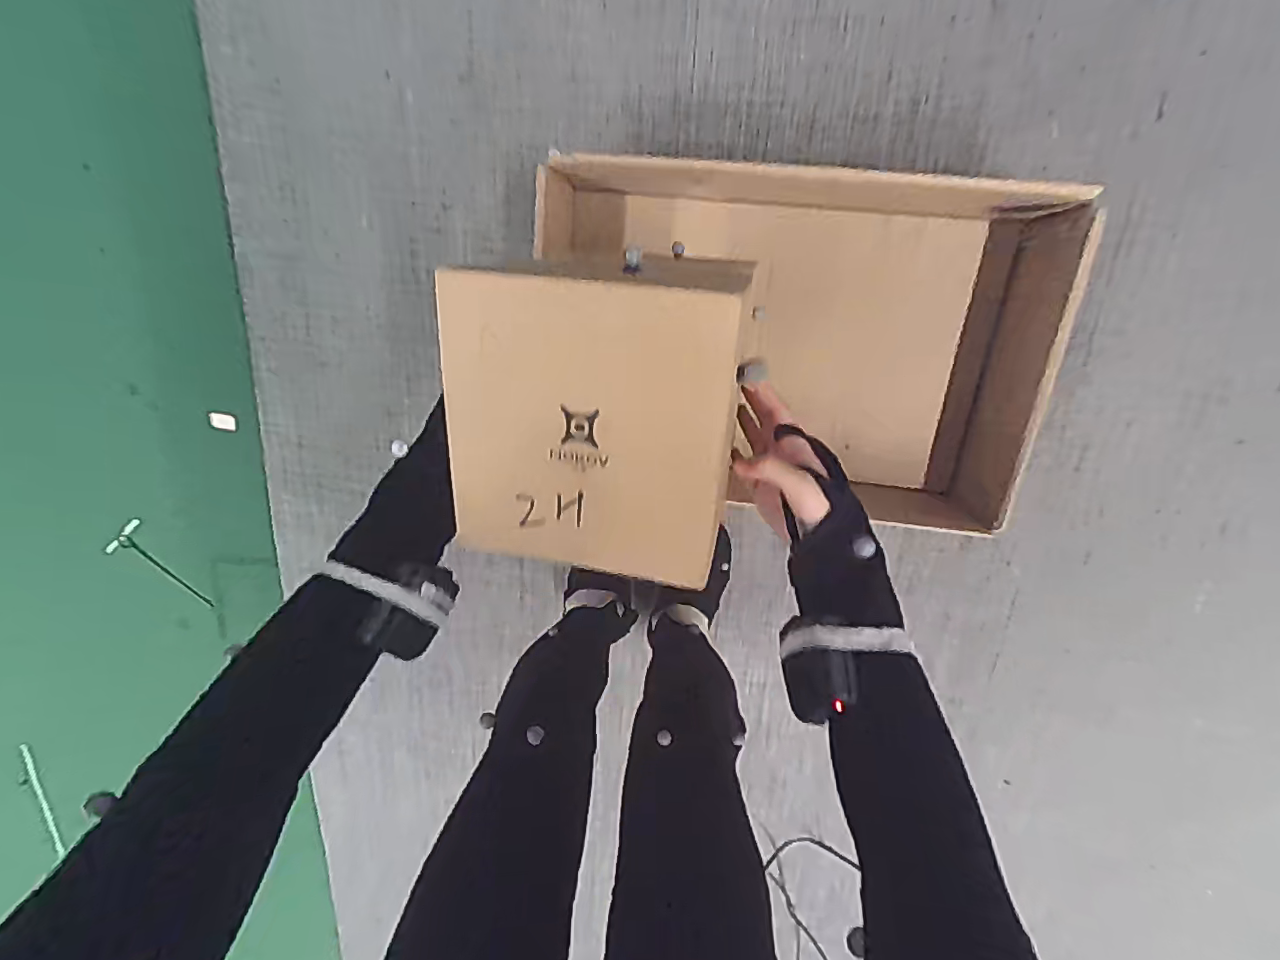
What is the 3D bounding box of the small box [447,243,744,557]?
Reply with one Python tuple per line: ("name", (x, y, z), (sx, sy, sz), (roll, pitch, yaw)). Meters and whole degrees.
("small box", (-0.019, -0.073, 0.396), (0.168, 0.176, 0.179), (10, 116, 11))
